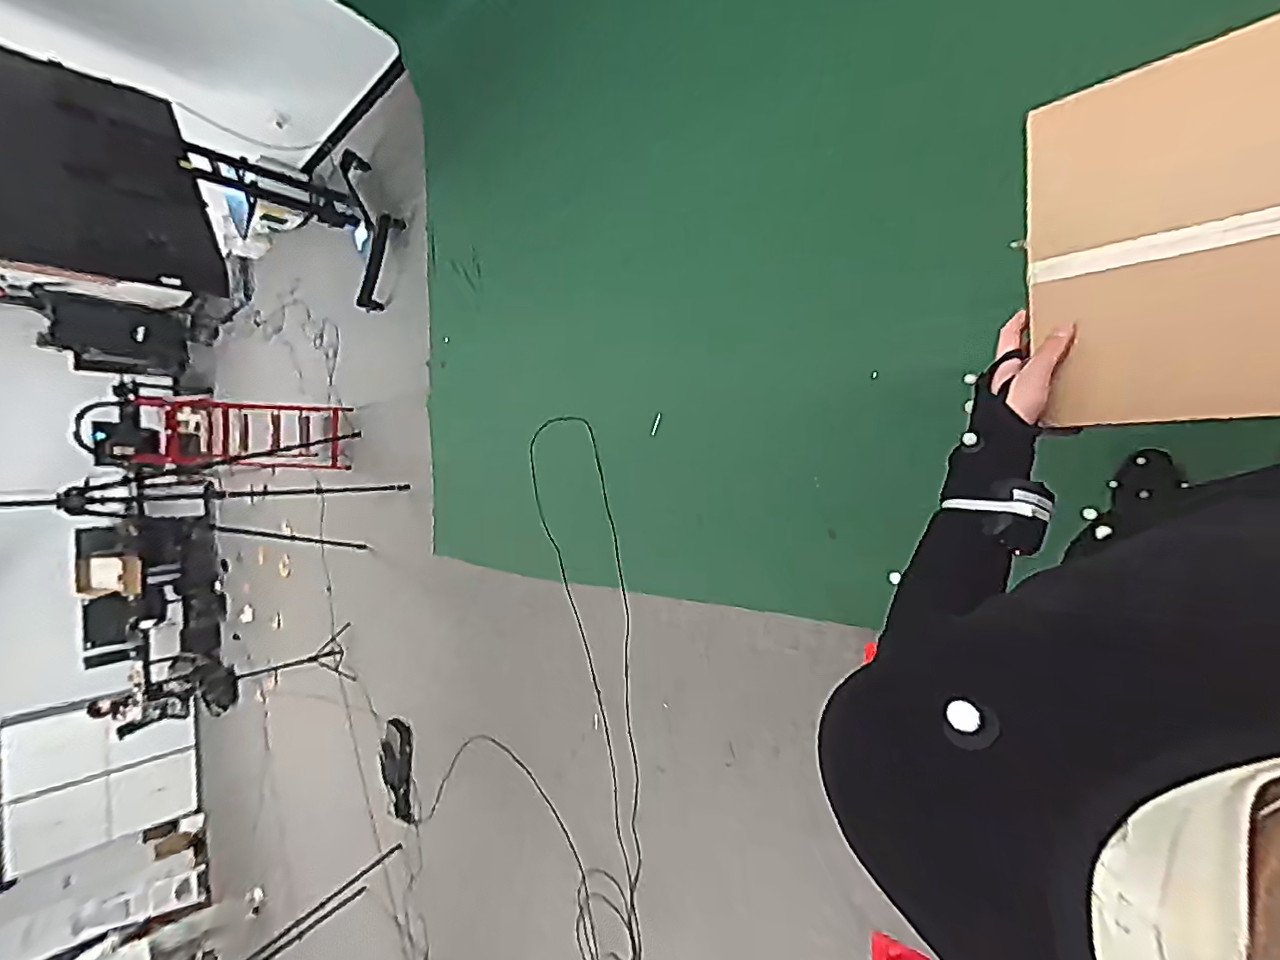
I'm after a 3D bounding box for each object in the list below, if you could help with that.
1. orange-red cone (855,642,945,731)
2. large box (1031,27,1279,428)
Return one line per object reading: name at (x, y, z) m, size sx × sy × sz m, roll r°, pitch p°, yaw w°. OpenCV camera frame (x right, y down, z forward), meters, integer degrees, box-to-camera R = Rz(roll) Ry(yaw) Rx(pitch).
orange-red cone at (0.653, 0.590, 1.441) m, size 0.199 × 0.360 × 0.198 m, roll 9°, pitch 97°, yaw 42°
large box at (0.652, -0.225, 0.522) m, size 0.408 × 0.320 × 0.320 m, roll -1°, pitch 96°, yaw 45°
